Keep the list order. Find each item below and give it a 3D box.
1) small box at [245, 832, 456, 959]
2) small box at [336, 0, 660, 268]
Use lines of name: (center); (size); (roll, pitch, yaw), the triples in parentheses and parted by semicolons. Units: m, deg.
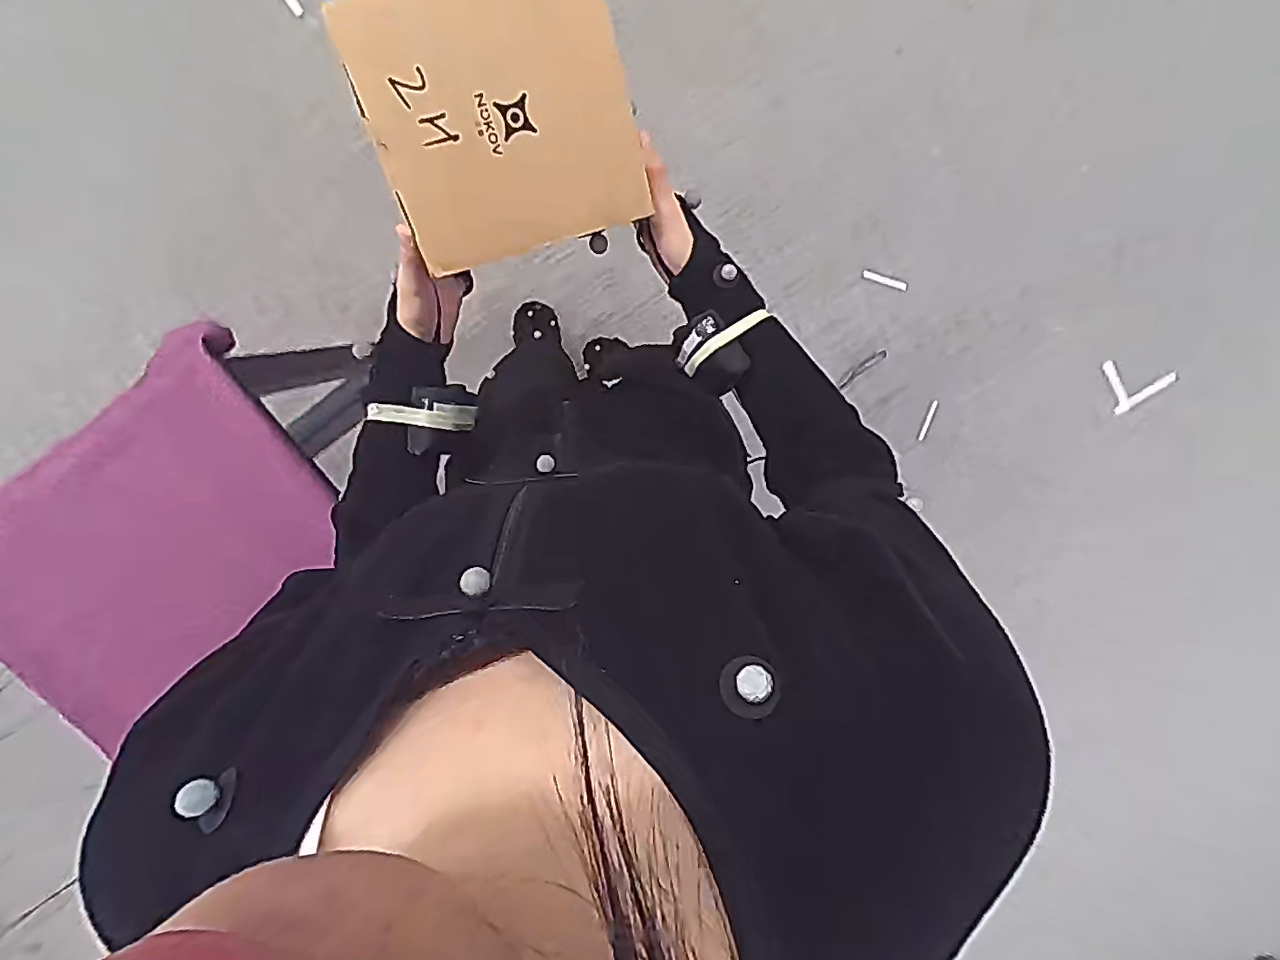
small box: (-0.367, 0.604, 0.689); (0.168, 0.176, 0.179); (-33, 103, 8)
small box: (-0.095, -0.282, 0.434); (0.179, 0.176, 0.168); (-15, 117, 0)
